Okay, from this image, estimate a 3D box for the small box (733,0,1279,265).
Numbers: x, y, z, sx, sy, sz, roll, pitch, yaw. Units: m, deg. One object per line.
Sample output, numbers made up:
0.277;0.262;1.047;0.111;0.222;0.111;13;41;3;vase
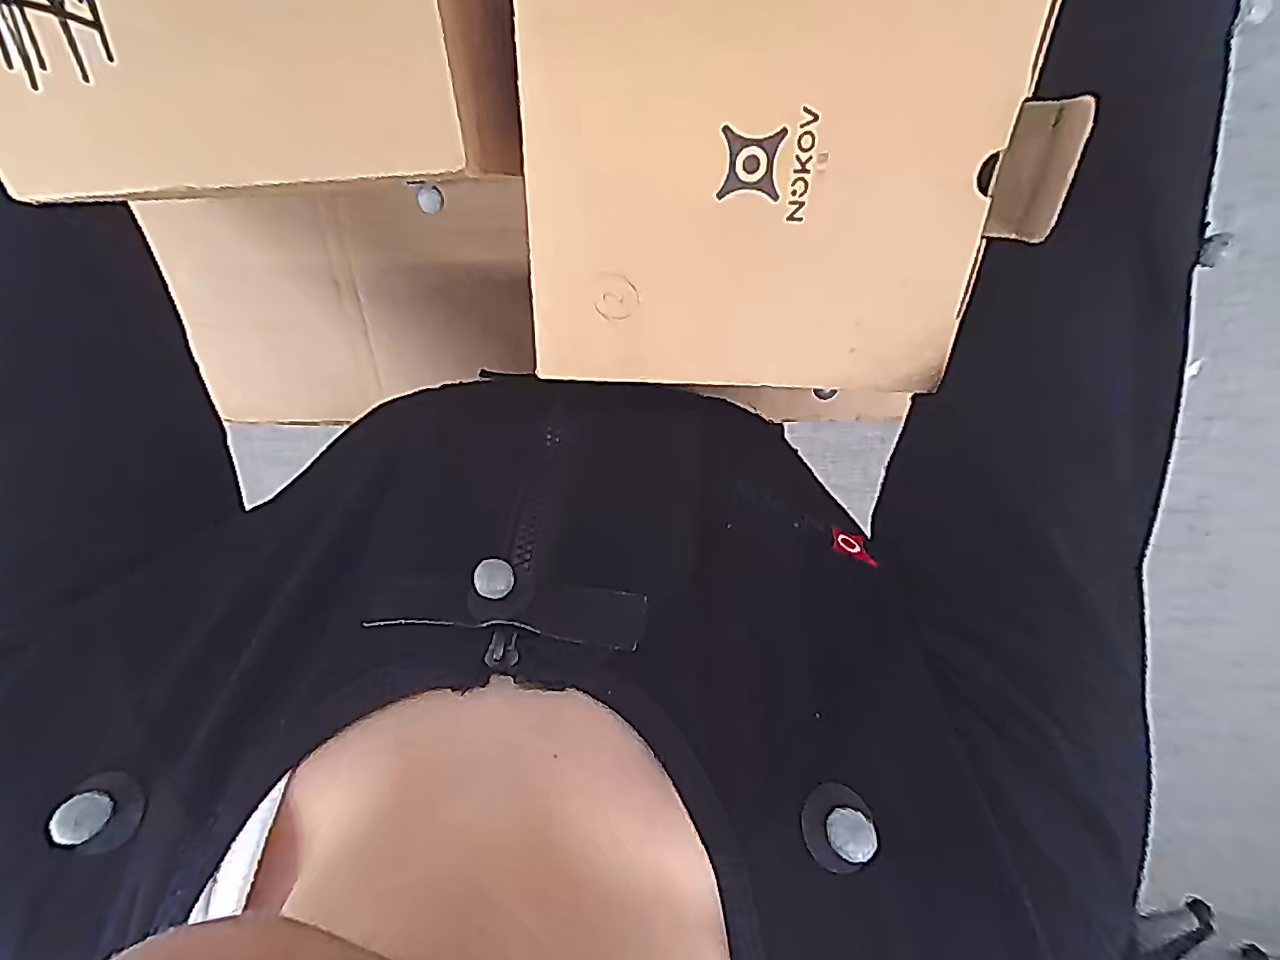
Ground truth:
0.151;-0.210;0.218;0.179;0.176;0.168;14;129;-8;small box
